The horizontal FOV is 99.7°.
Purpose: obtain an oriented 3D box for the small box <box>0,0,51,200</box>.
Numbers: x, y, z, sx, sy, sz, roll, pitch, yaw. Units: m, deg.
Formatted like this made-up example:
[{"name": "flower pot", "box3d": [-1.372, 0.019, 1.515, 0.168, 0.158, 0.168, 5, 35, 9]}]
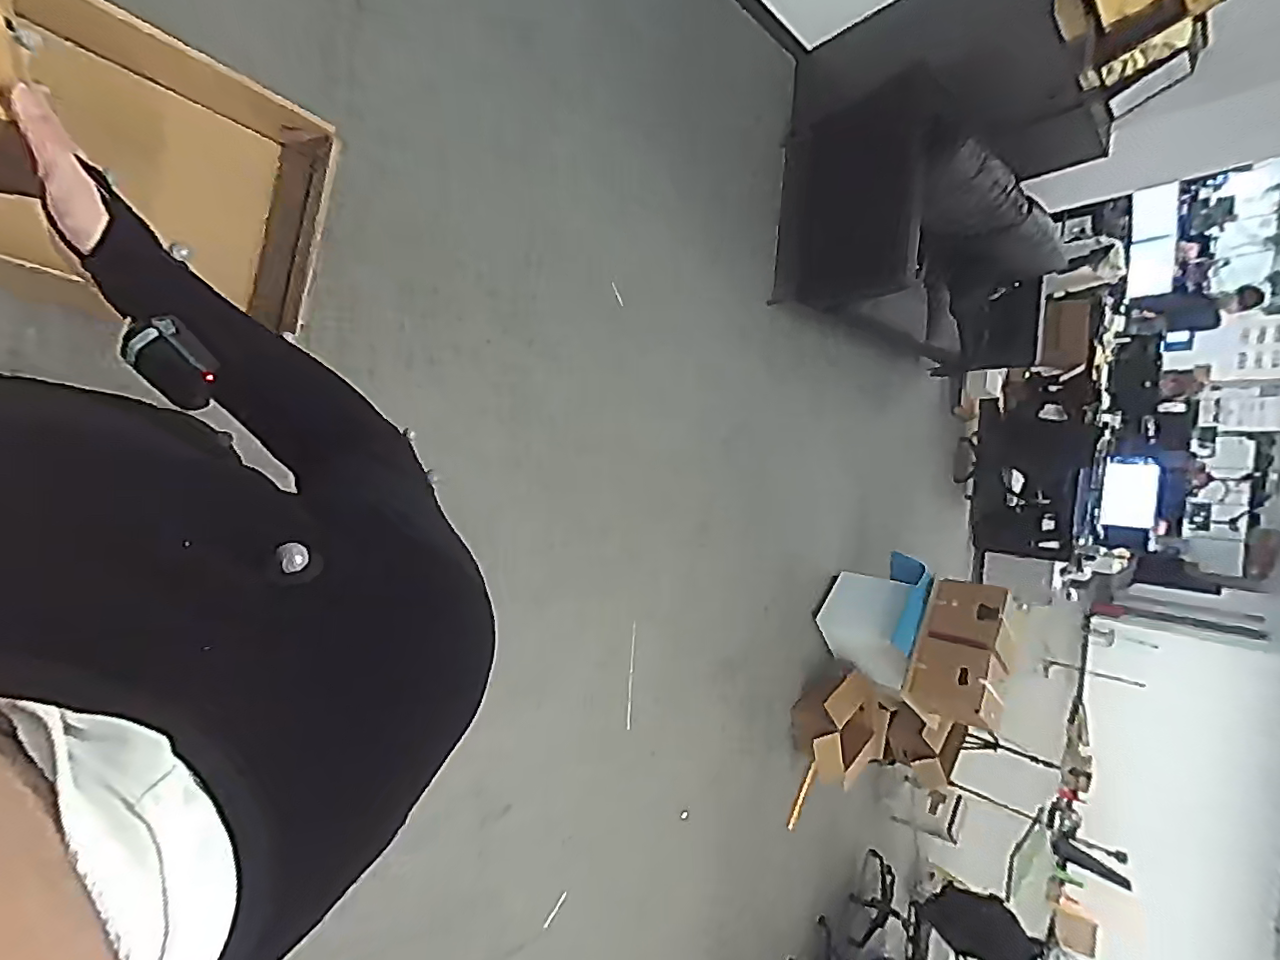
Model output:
[{"name": "small box", "box3d": [-0.565, -0.331, 0.390, 0.168, 0.176, 0.179, -13, 104, -44]}]
